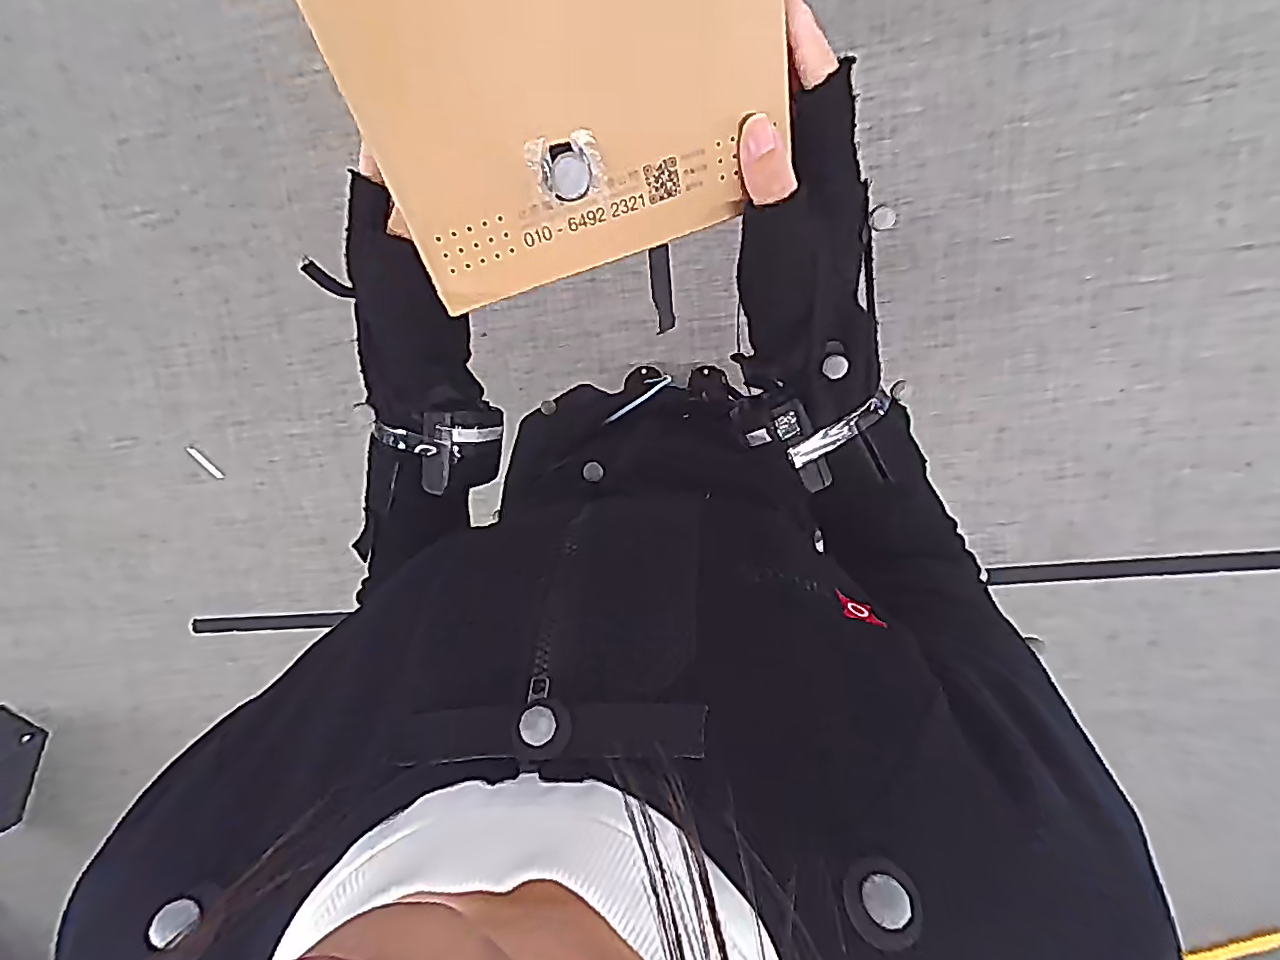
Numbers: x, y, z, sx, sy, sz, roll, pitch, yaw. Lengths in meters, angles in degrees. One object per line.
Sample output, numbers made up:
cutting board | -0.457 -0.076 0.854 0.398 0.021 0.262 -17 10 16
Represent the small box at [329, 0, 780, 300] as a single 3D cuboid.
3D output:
small box | -0.047 -0.212 0.268 0.168 0.179 0.176 -22 131 -5
